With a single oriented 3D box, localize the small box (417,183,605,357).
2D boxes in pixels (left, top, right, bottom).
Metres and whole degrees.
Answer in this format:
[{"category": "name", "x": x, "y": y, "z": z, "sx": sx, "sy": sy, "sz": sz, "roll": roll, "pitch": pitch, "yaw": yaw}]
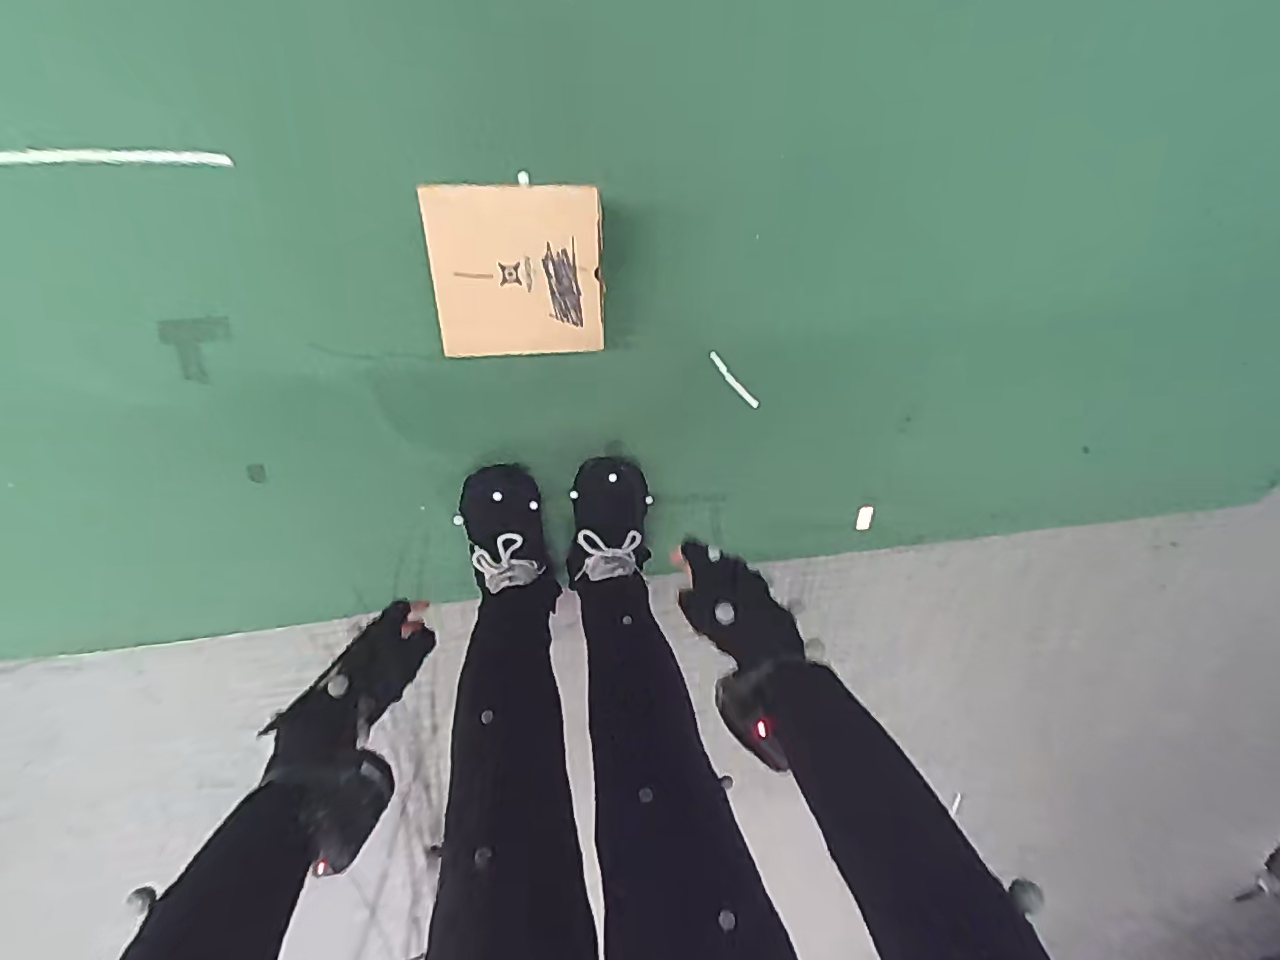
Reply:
[{"category": "small box", "x": -0.138, "y": -0.244, "z": 0.620, "sx": 0.179, "sy": 0.176, "sz": 0.168, "roll": -4, "pitch": 116, "yaw": -8}]
